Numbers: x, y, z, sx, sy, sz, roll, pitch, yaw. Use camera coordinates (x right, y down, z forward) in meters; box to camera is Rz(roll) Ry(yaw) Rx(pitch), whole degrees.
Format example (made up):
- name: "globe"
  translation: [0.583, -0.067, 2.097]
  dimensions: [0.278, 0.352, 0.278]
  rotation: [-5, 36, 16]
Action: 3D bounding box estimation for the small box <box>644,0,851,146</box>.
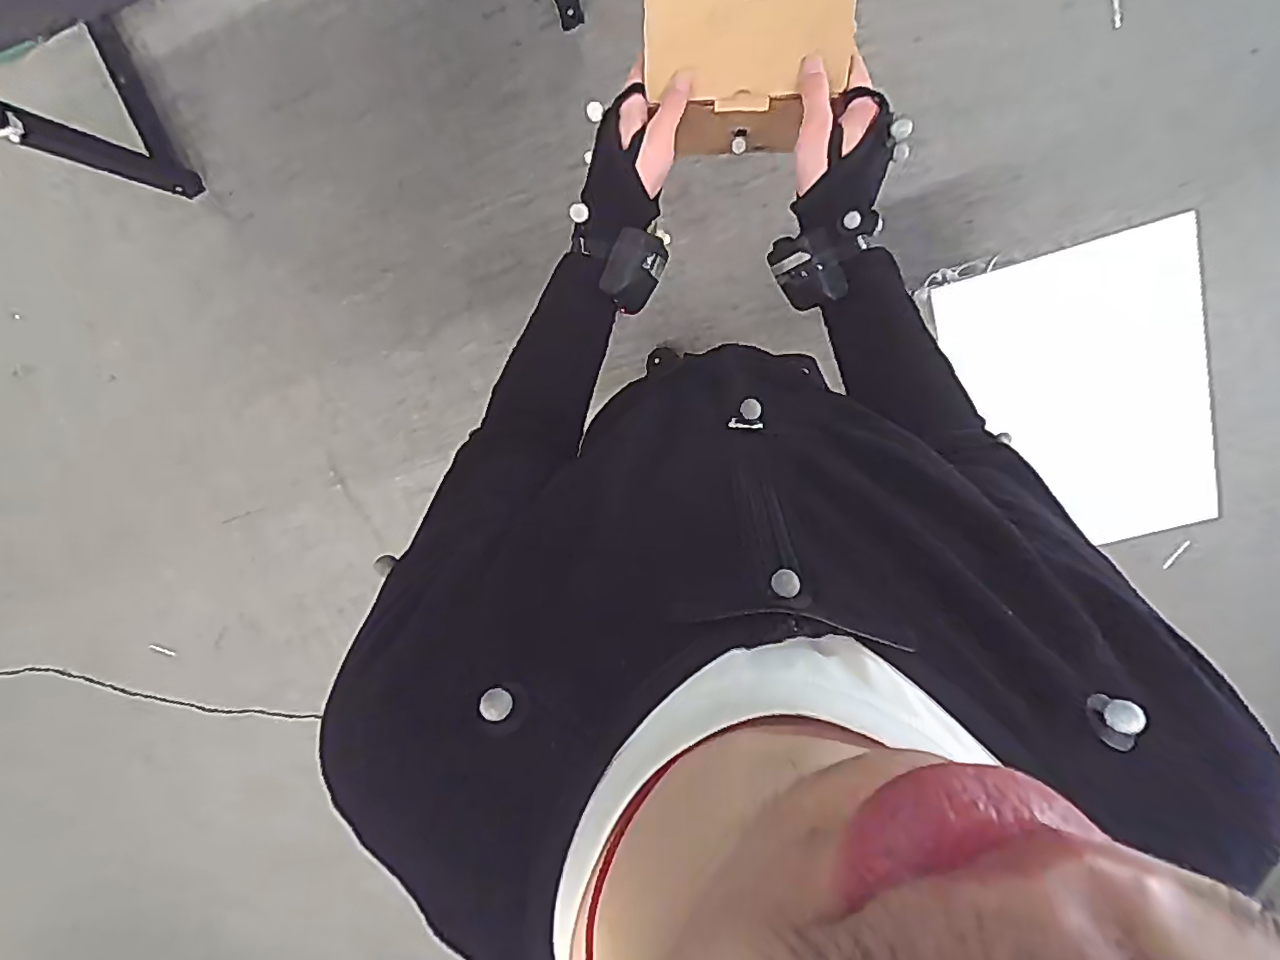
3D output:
- name: "small box"
  translation: [0.097, -0.425, 0.497]
  dimensions: [0.168, 0.176, 0.179]
  rotation: [1, 108, 9]
